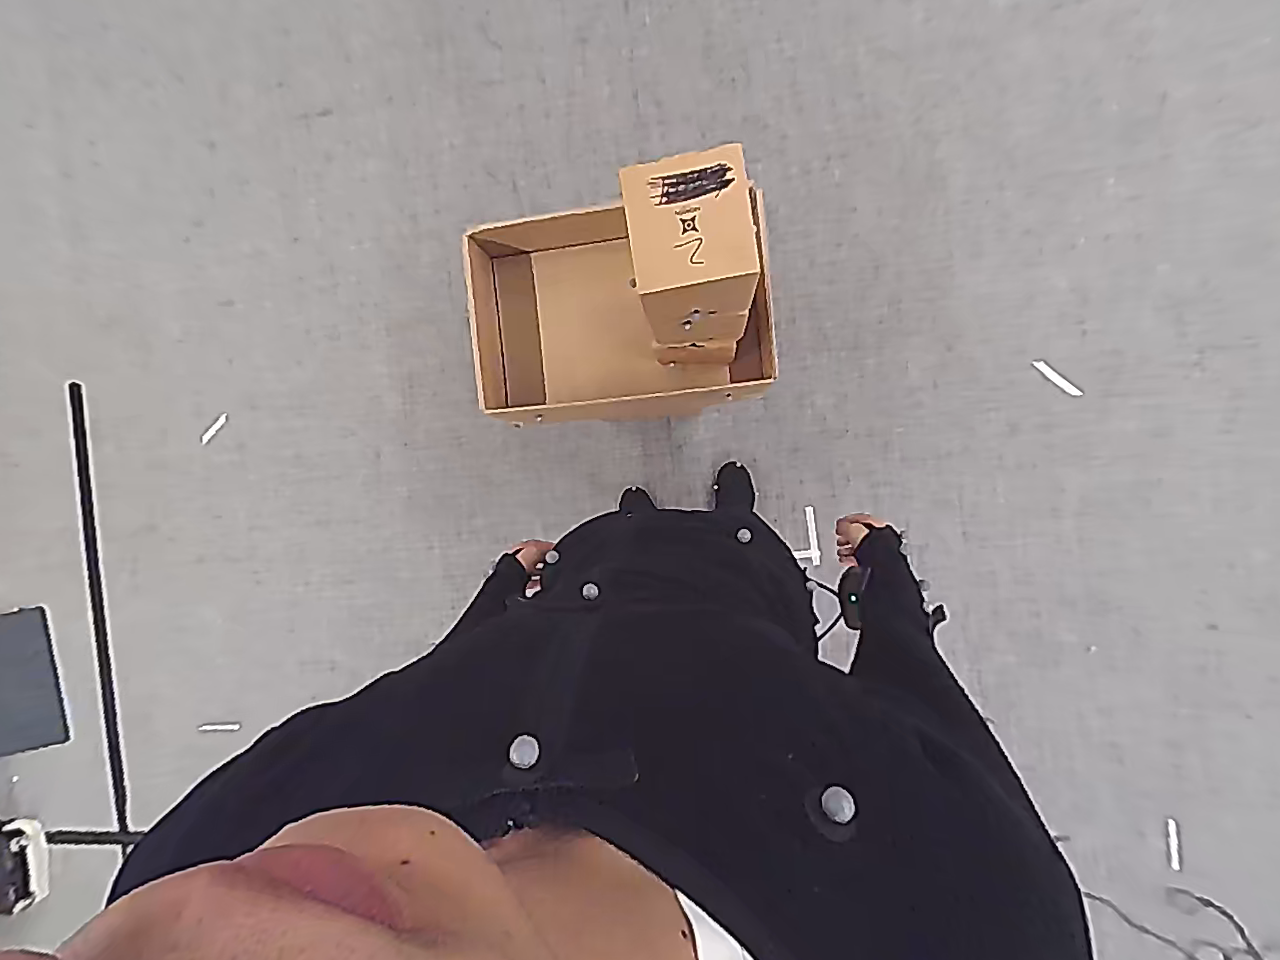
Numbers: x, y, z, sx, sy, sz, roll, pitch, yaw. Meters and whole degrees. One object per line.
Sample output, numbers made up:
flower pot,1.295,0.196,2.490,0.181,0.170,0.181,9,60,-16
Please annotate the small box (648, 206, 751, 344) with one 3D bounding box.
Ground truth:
small box,0.104,-0.352,0.957,0.168,0.176,0.179,-2,90,7

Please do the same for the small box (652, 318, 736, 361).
small box,0.116,-0.346,1.120,0.168,0.176,0.179,1,91,6
